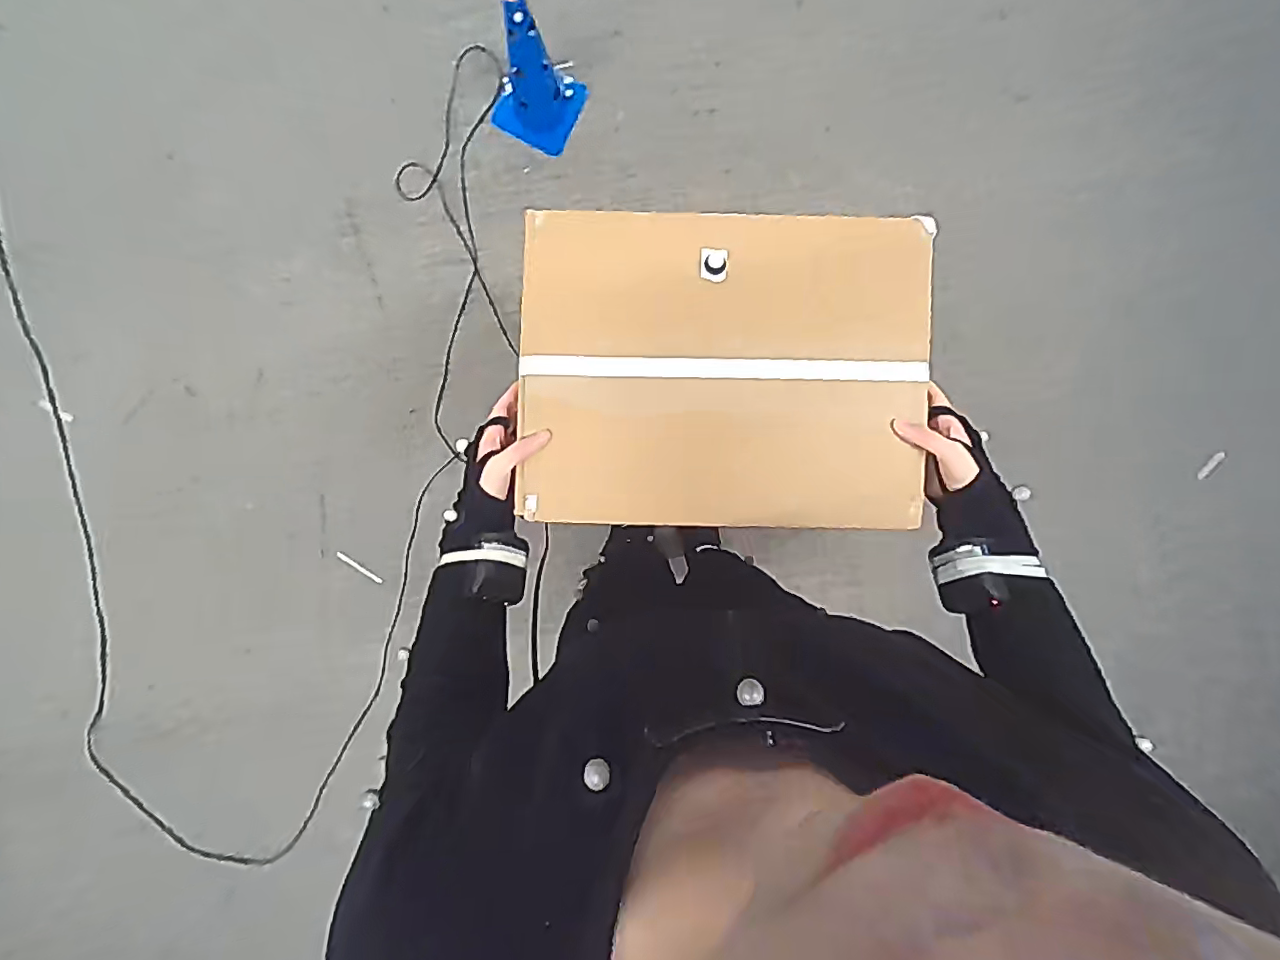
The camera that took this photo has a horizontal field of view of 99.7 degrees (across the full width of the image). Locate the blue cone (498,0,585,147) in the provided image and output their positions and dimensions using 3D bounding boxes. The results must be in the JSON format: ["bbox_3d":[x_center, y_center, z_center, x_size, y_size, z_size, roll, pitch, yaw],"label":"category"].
[{"bbox_3d":[-0.243,-0.955,1.209,0.192,0.380,0.193,24,92,-4],"label":"blue cone"}]
